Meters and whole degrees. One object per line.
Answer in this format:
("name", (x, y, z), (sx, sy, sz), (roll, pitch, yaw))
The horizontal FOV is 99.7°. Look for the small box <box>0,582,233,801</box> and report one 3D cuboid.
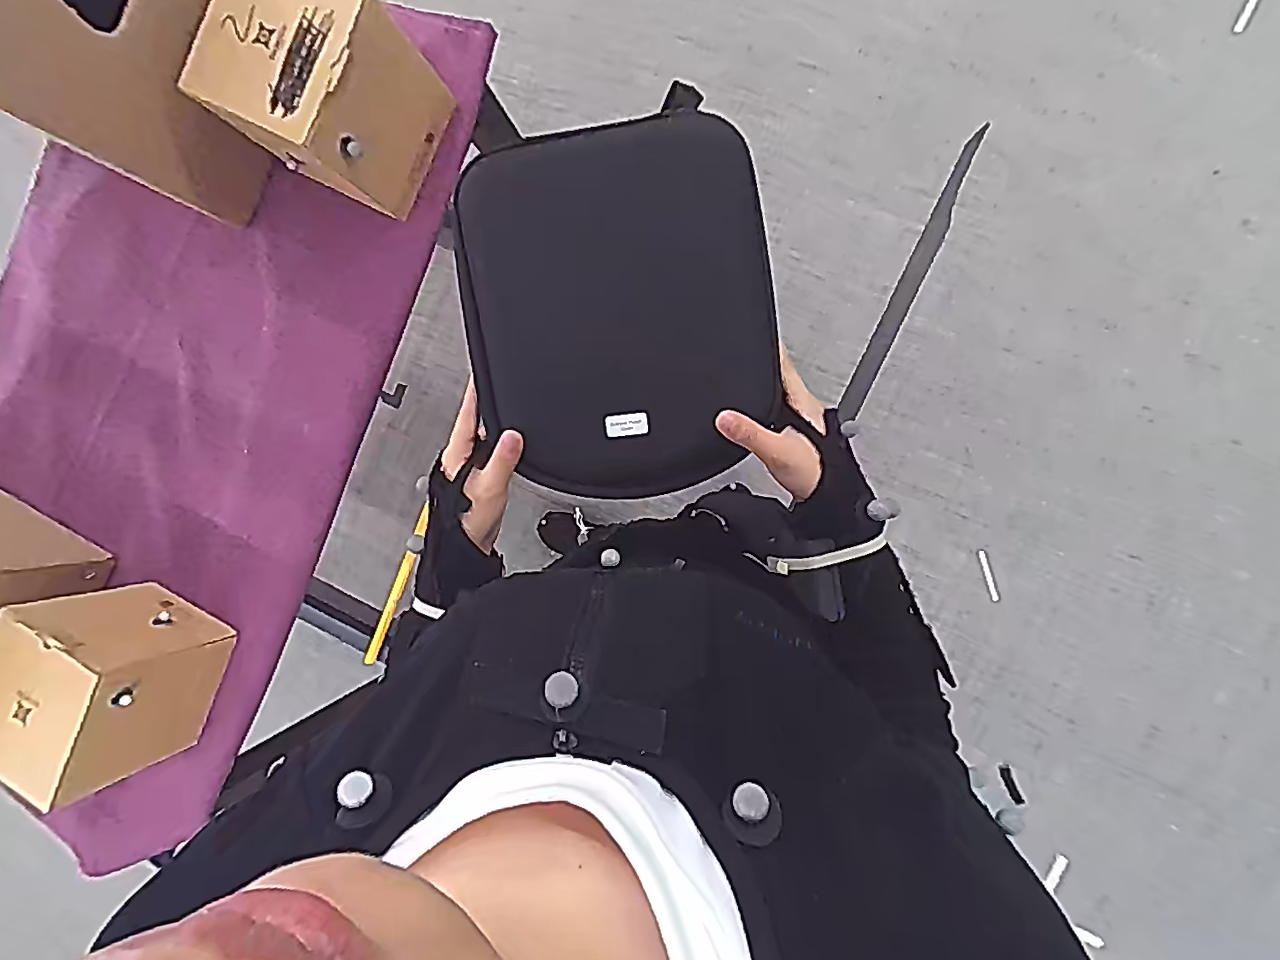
("small box", (-0.677, 0.253, 0.694), (0.168, 0.176, 0.179), (23, 94, 11))
